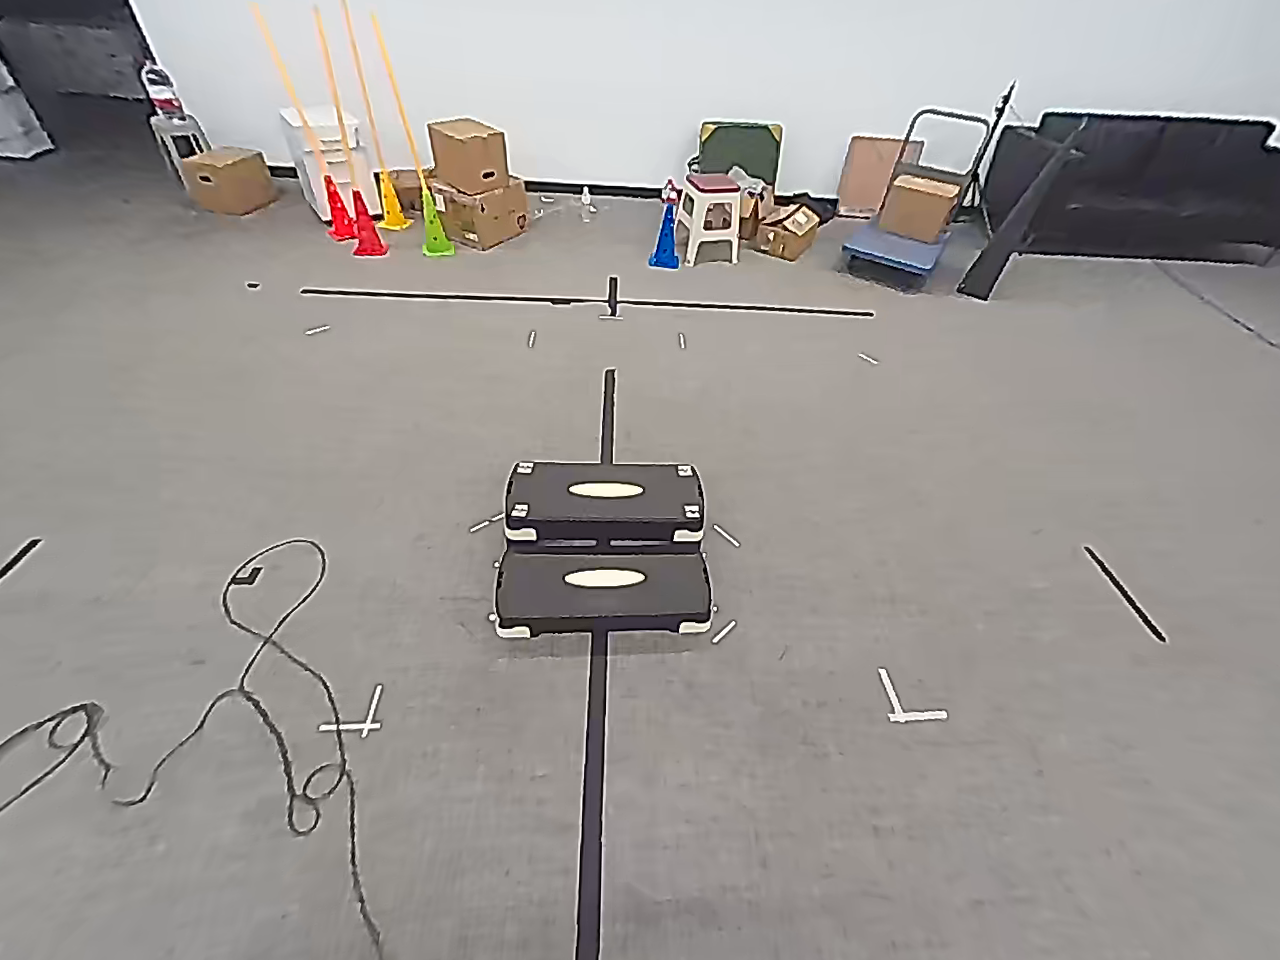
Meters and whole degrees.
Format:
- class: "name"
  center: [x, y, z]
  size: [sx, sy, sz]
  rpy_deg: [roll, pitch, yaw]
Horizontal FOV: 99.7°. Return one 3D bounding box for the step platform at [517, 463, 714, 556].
- class: "step platform"
  center: [-0.085, 0.099, 1.907]
  size: [0.684, 0.204, 0.286]
  rpy_deg: [1, 44, -6]
